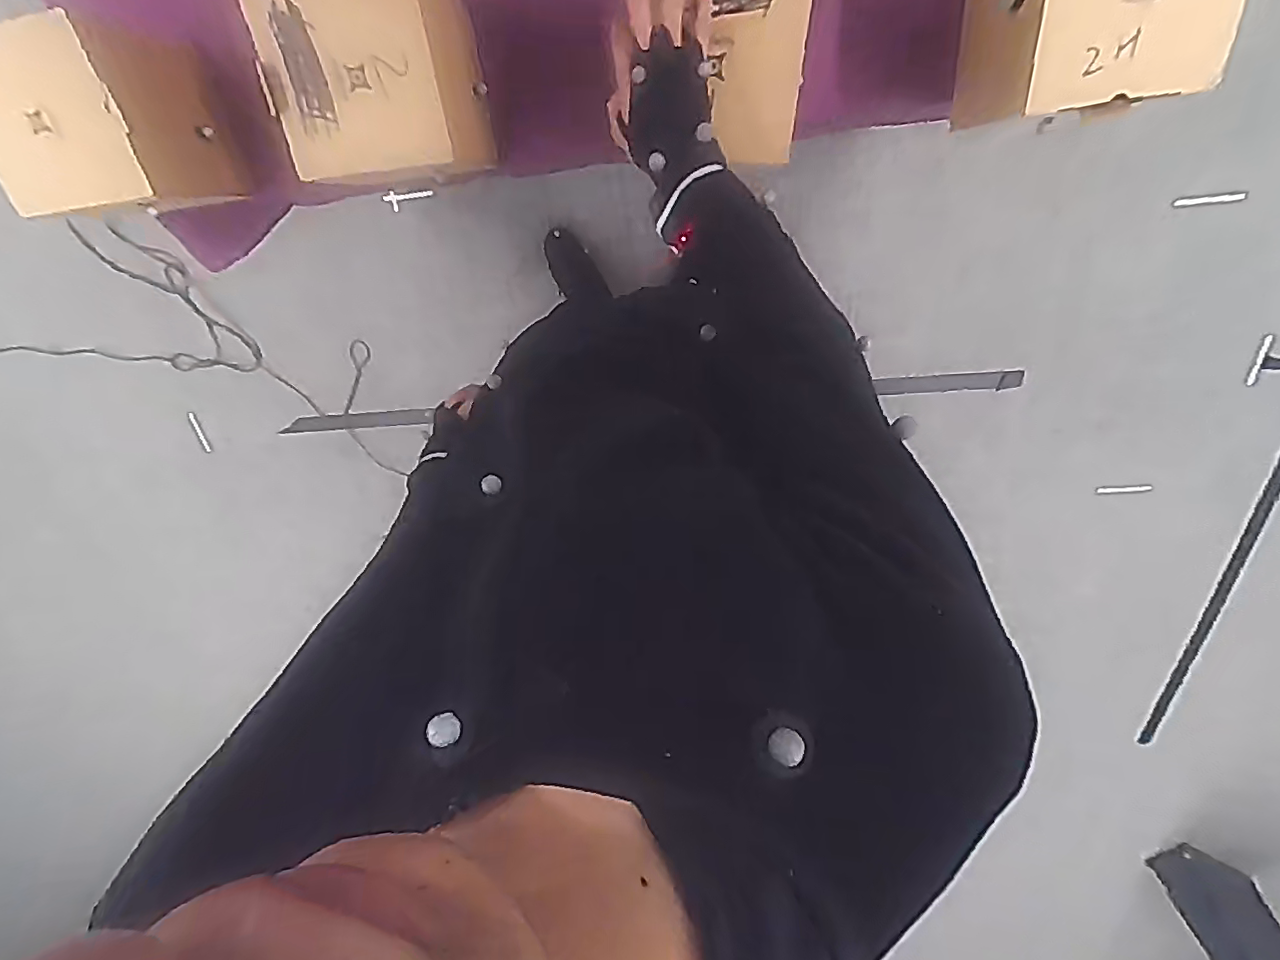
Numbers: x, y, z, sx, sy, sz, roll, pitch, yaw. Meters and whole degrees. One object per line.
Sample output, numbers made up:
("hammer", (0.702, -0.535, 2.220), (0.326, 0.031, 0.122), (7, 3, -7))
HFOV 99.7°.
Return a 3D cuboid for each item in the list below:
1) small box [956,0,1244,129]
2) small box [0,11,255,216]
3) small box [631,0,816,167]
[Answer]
("small box", (0.438, -0.465, 0.531), (0.168, 0.176, 0.179), (-4, 118, 8))
("small box", (-0.619, -0.414, 0.641), (0.179, 0.176, 0.168), (-6, 118, 6))
("small box", (0.079, -0.438, 0.575), (0.168, 0.176, 0.179), (4, 120, 2))
